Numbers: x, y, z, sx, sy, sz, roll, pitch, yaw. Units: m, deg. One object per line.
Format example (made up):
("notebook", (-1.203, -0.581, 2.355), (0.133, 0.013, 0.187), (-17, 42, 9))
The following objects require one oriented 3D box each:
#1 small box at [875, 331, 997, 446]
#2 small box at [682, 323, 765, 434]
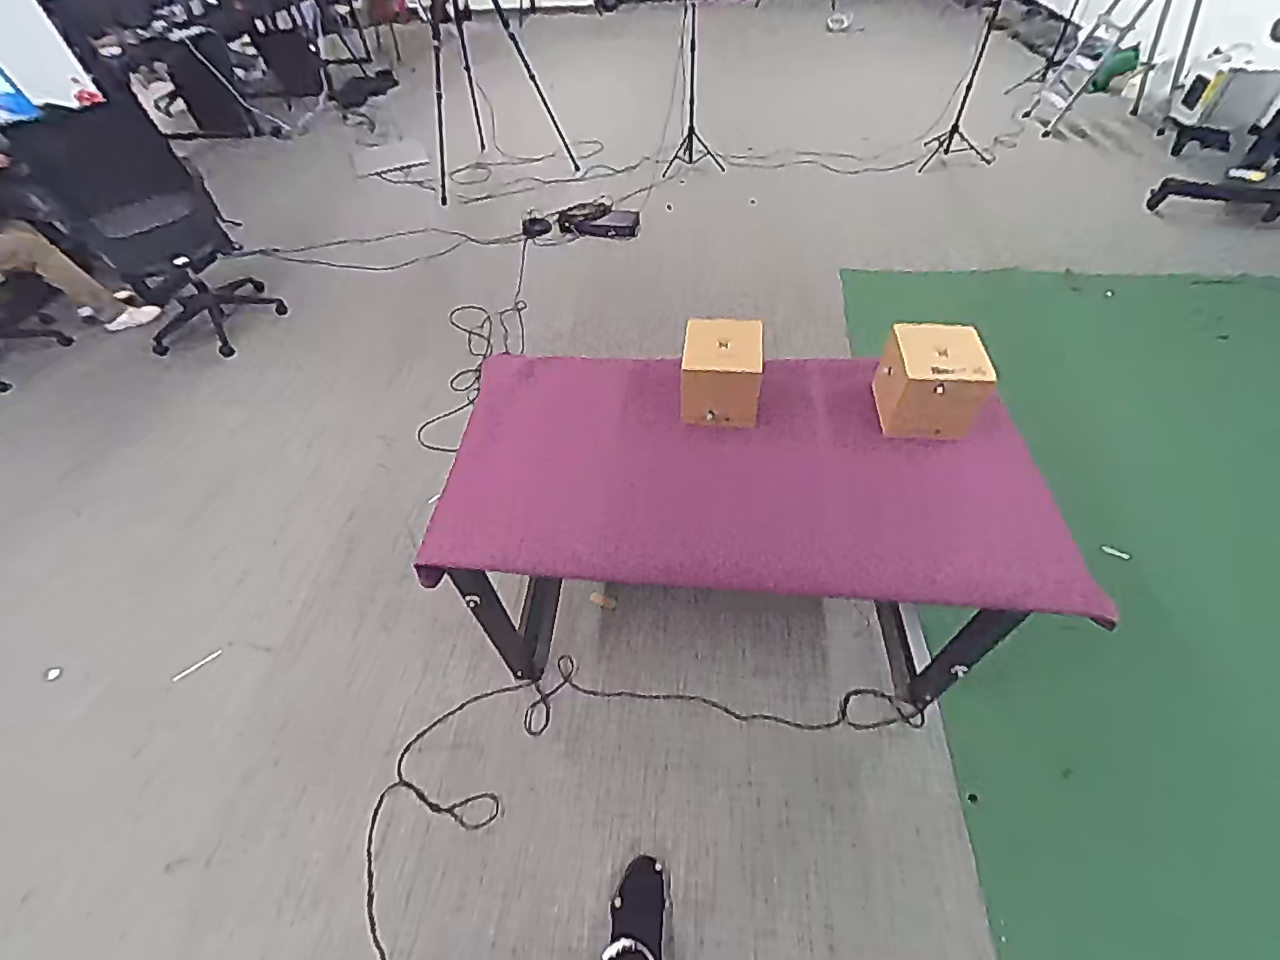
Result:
("small box", (0.616, -0.196, 1.153), (0.168, 0.176, 0.179), (3, 50, 7))
("small box", (0.184, -0.227, 1.208), (0.168, 0.176, 0.179), (4, 52, 8))
